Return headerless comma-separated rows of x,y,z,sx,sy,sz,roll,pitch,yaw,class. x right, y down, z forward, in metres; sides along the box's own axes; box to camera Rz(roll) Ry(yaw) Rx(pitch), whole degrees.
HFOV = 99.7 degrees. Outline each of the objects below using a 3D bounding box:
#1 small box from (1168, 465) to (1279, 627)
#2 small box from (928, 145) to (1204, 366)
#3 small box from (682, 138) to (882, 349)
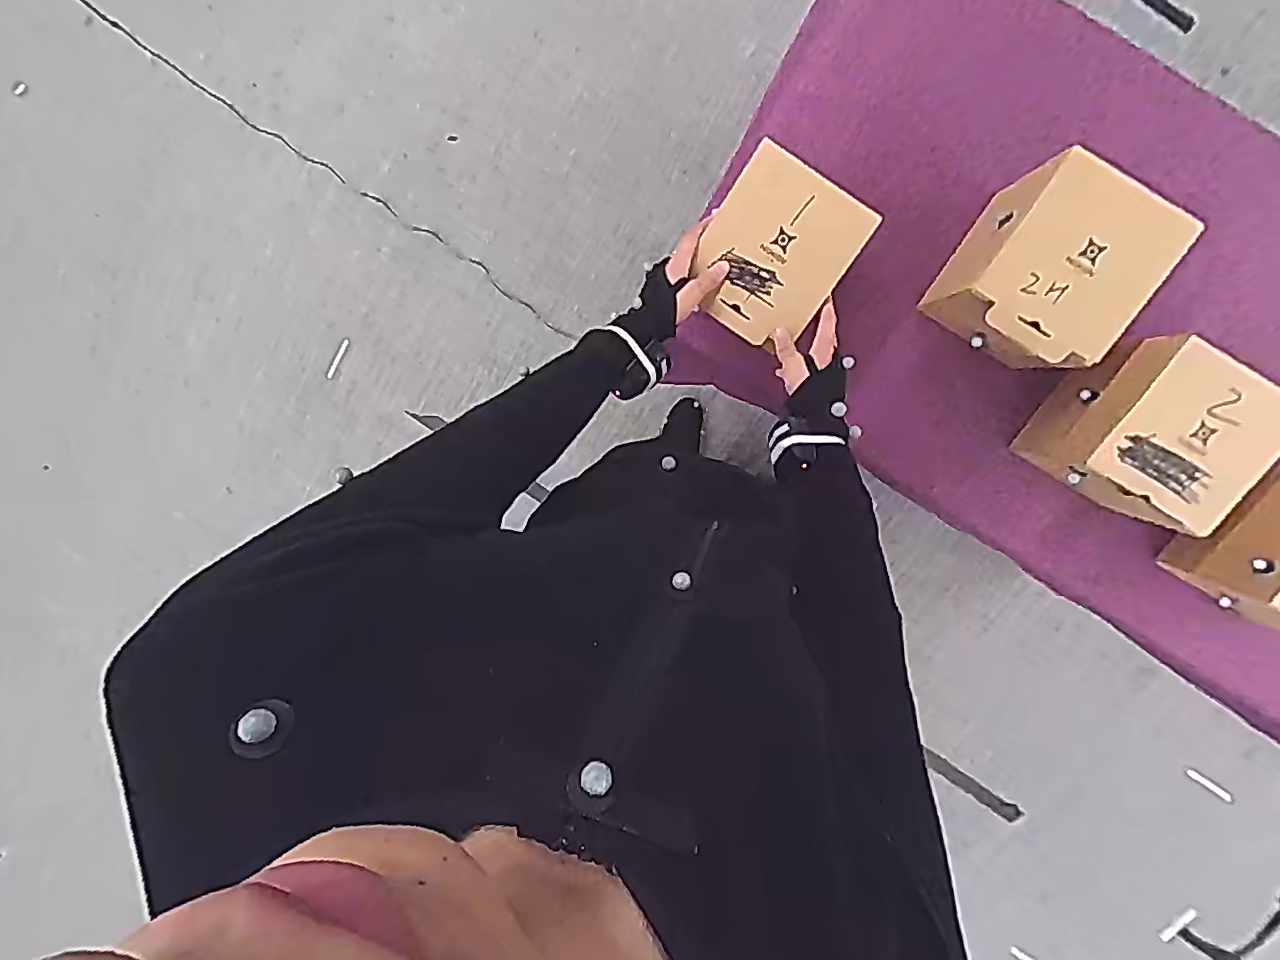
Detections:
0.862,0.098,0.695,0.168,0.176,0.179,31,103,1,small box
0.500,-0.259,0.672,0.168,0.176,0.179,33,103,1,small box
0.173,-0.288,0.708,0.168,0.176,0.179,34,102,-1,small box
